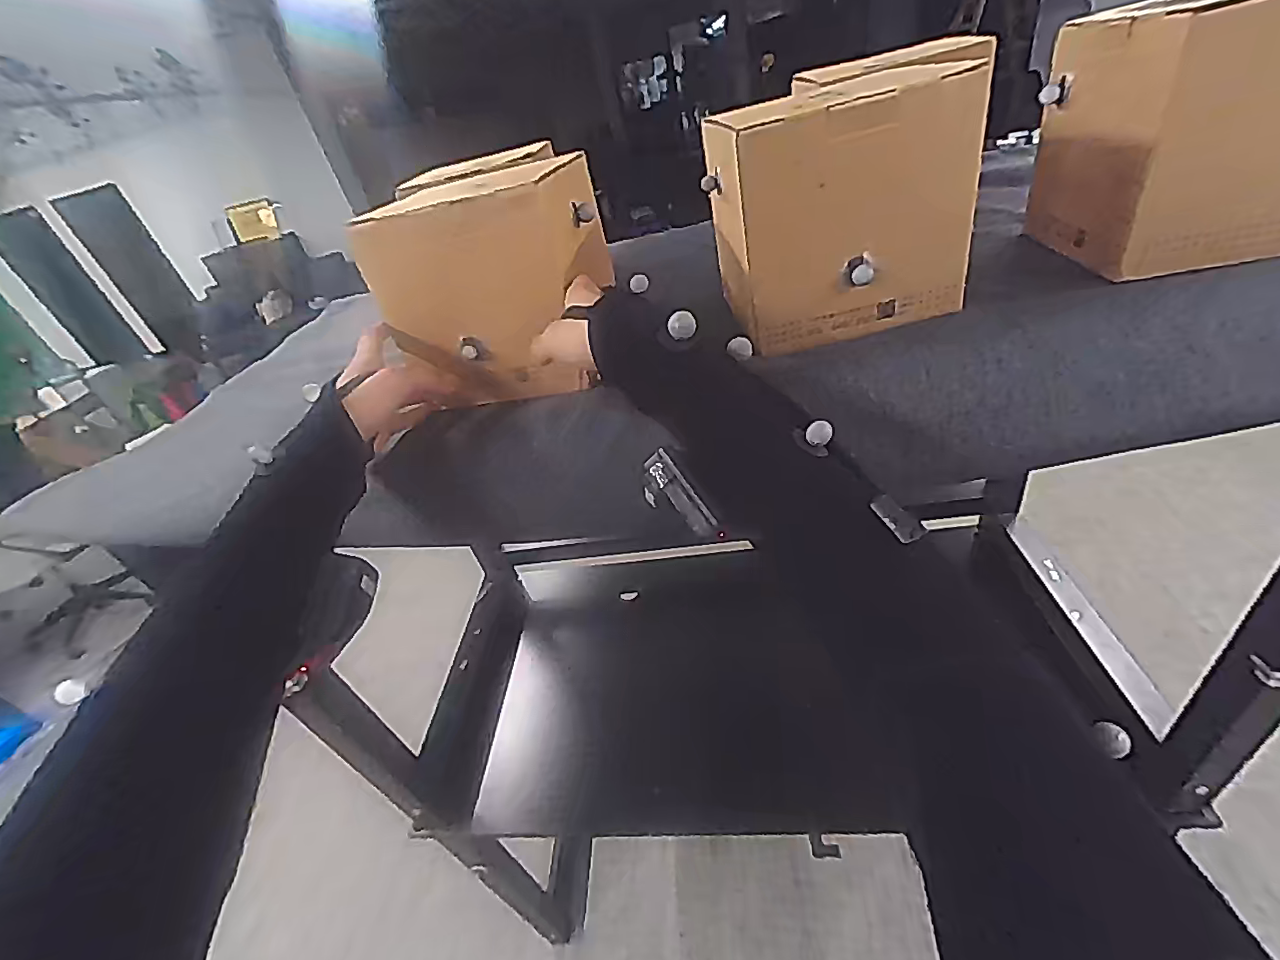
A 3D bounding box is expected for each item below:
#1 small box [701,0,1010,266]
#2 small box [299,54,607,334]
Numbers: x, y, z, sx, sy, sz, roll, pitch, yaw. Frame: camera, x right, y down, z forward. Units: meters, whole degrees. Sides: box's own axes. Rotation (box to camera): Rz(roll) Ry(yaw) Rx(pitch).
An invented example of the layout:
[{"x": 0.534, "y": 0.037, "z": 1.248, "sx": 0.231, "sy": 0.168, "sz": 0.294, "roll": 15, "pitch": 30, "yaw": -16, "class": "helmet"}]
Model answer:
[{"x": 0.147, "y": -0.285, "z": 0.424, "sx": 0.168, "sy": 0.176, "sz": 0.179, "roll": -11, "pitch": 36, "yaw": 6, "class": "small box"}, {"x": -0.133, "y": -0.243, "z": 0.469, "sx": 0.168, "sy": 0.176, "sz": 0.179, "roll": -6, "pitch": 36, "yaw": 13, "class": "small box"}]
